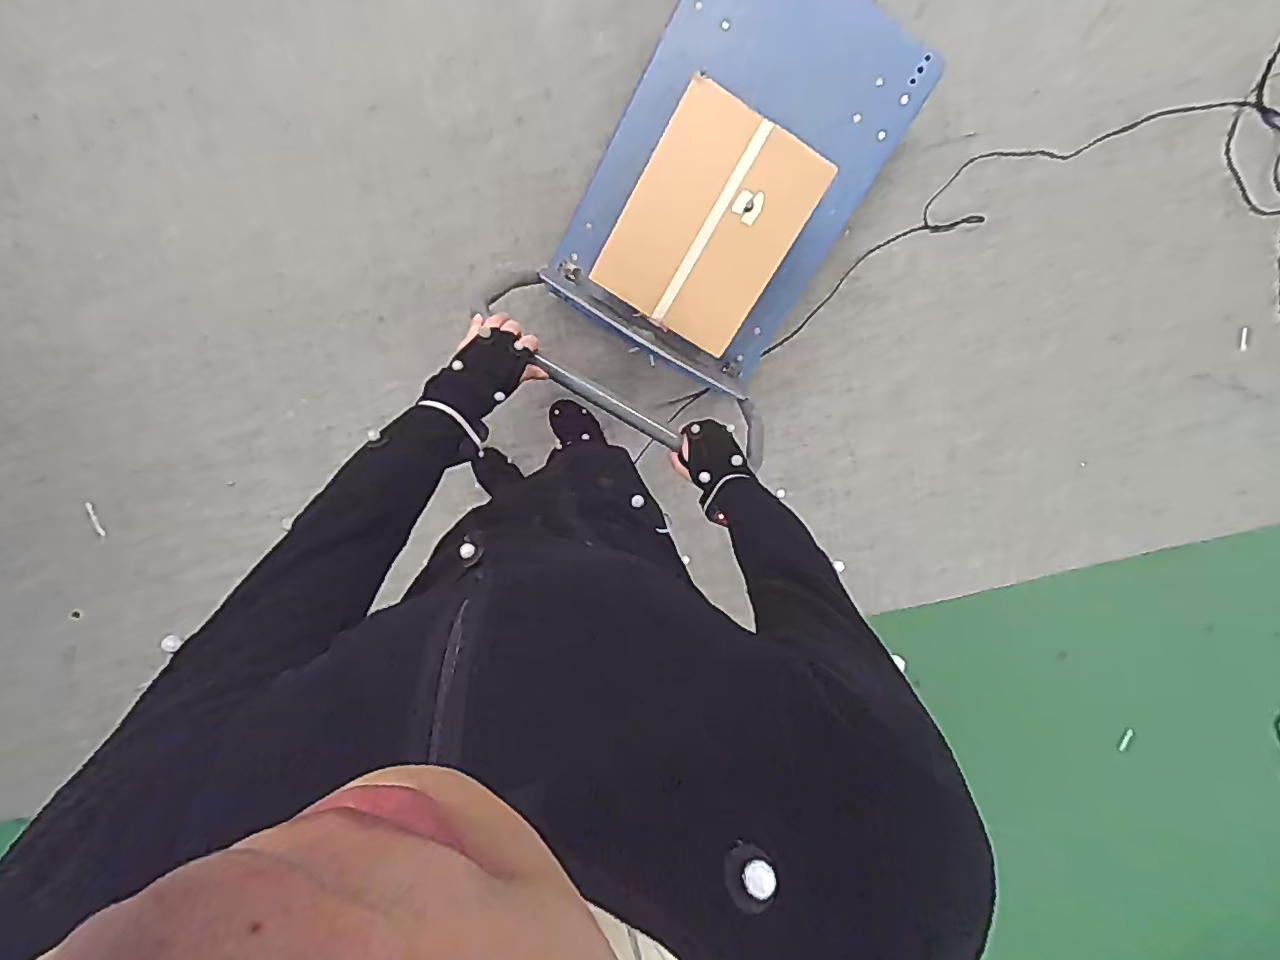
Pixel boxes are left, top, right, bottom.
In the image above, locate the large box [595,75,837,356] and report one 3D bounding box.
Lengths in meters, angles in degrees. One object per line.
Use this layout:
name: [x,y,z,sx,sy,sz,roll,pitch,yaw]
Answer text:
large box: [0.144,-0.530,1.173,0.320,0.320,0.408,30,107,-7]
